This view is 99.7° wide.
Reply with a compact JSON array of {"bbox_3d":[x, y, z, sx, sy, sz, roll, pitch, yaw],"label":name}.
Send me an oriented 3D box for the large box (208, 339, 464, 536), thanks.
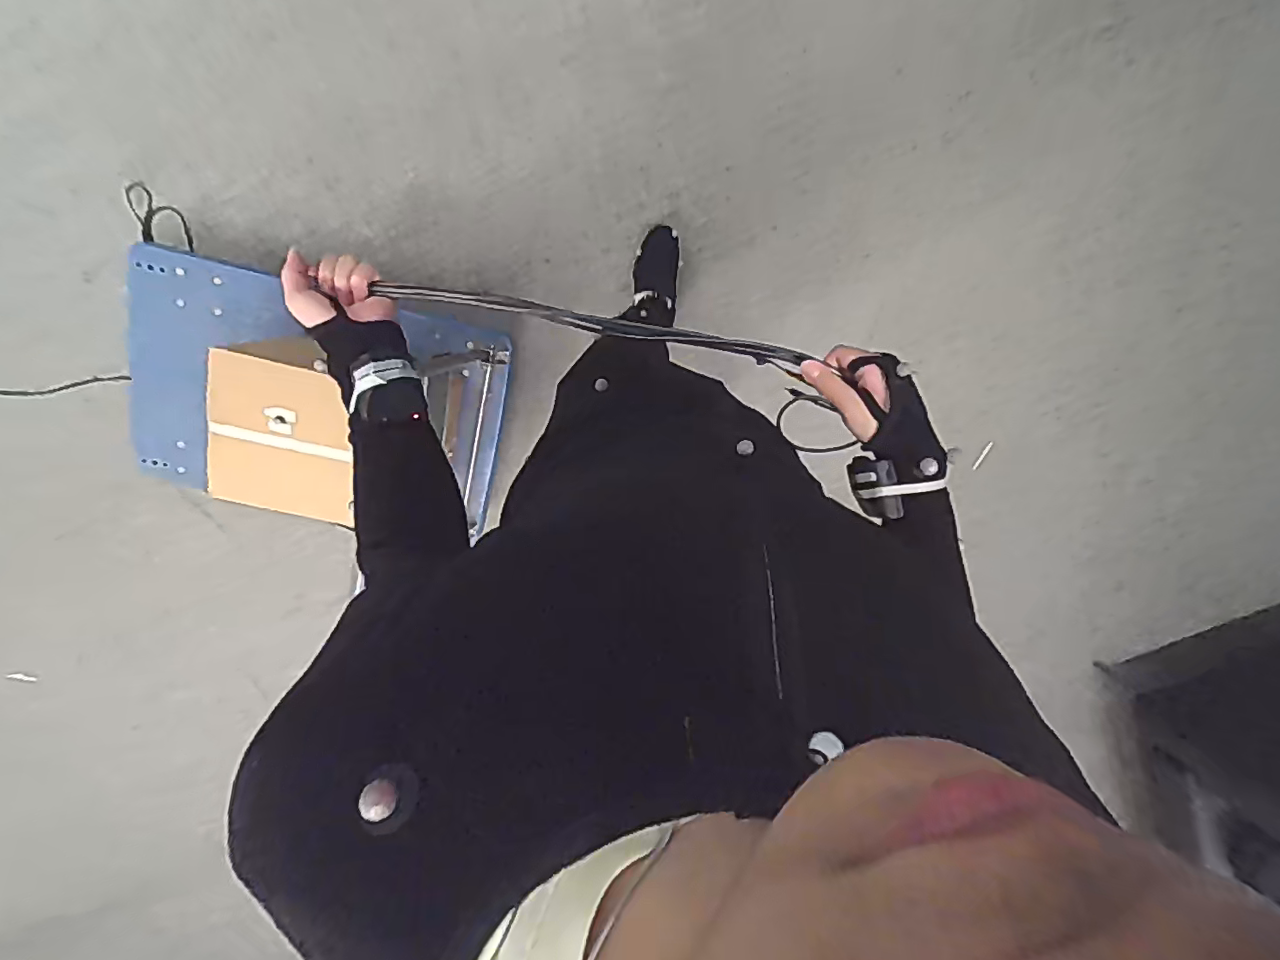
[{"bbox_3d":[-0.650,-0.108,1.214,0.408,0.320,0.320,13,107,-7],"label":"large box"}]
